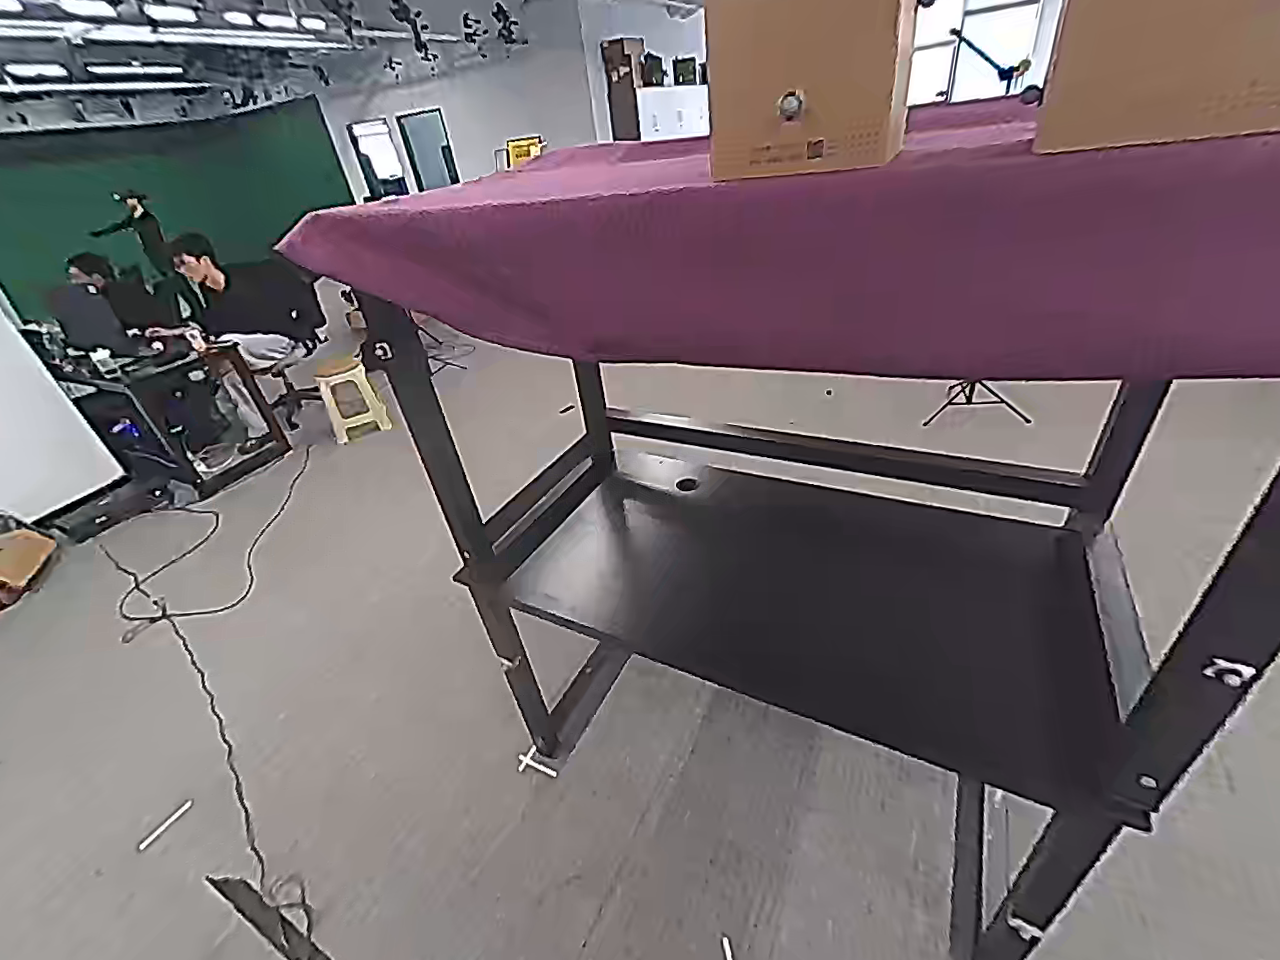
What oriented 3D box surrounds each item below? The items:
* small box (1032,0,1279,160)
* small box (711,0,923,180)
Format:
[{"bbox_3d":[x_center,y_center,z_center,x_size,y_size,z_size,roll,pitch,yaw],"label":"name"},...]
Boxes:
[{"bbox_3d":[0.413,-0.345,0.392,0.179,0.176,0.168,11,37,29],"label":"small box"},{"bbox_3d":[0.174,-0.401,0.531,0.168,0.176,0.179,9,37,26],"label":"small box"}]
